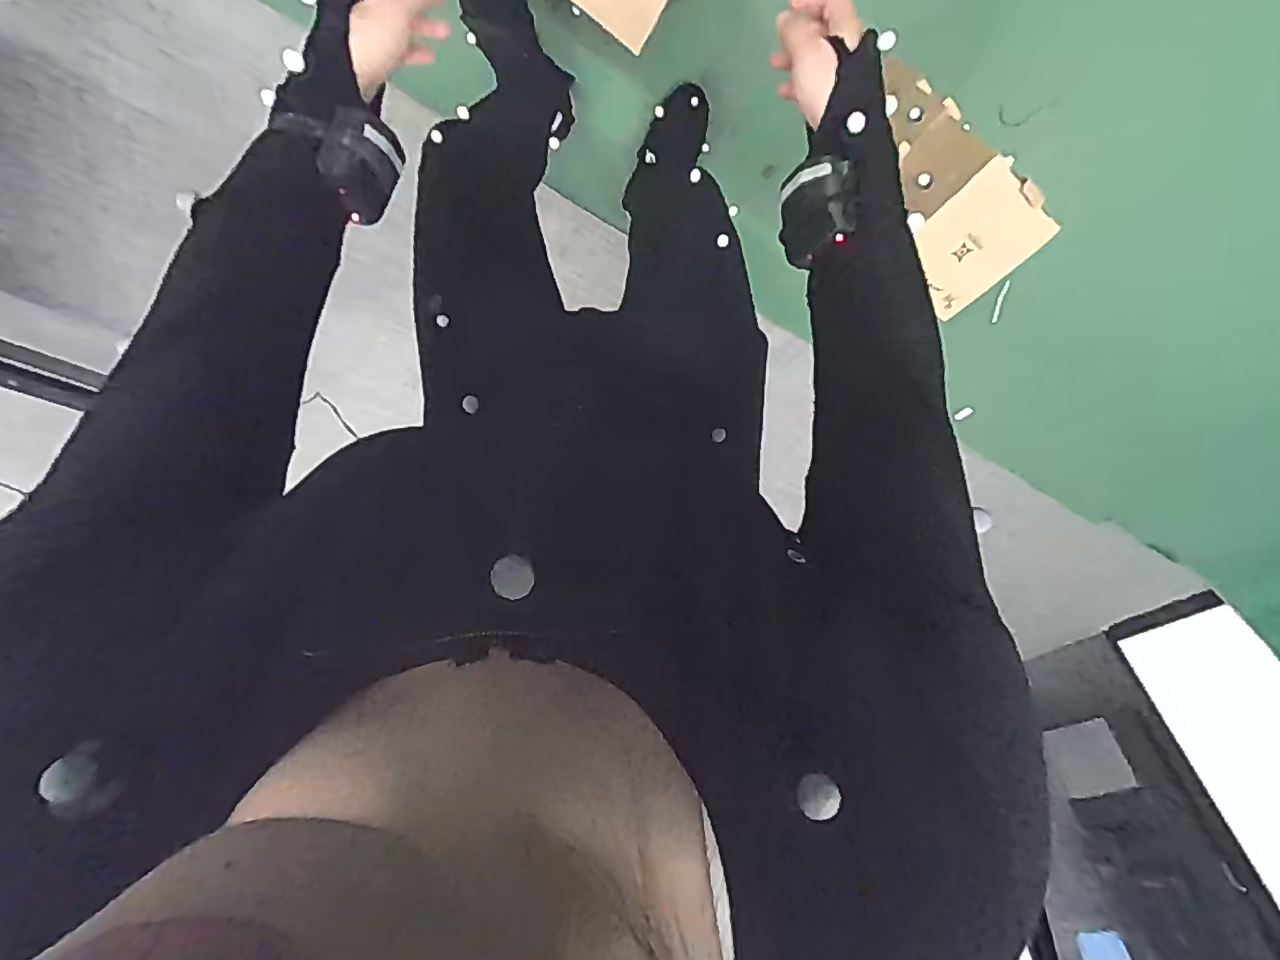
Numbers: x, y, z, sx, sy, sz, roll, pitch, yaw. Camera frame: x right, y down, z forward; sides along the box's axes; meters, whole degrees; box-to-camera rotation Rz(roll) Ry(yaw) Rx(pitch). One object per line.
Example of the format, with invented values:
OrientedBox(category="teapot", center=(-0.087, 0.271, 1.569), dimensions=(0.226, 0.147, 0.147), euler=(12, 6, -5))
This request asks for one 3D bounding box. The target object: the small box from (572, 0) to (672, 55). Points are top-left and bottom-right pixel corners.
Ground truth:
OrientedBox(category="small box", center=(-0.026, -0.696, 0.684), dimensions=(0.179, 0.176, 0.168), euler=(23, 135, -25))

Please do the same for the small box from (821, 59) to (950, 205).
OrientedBox(category="small box", center=(0.460, -0.631, 1.013), dimensions=(0.168, 0.176, 0.179), euler=(29, 131, -29))

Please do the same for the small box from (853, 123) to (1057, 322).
OrientedBox(category="small box", center=(0.451, -0.380, 0.799), dimensions=(0.168, 0.176, 0.179), euler=(24, 133, -28))
